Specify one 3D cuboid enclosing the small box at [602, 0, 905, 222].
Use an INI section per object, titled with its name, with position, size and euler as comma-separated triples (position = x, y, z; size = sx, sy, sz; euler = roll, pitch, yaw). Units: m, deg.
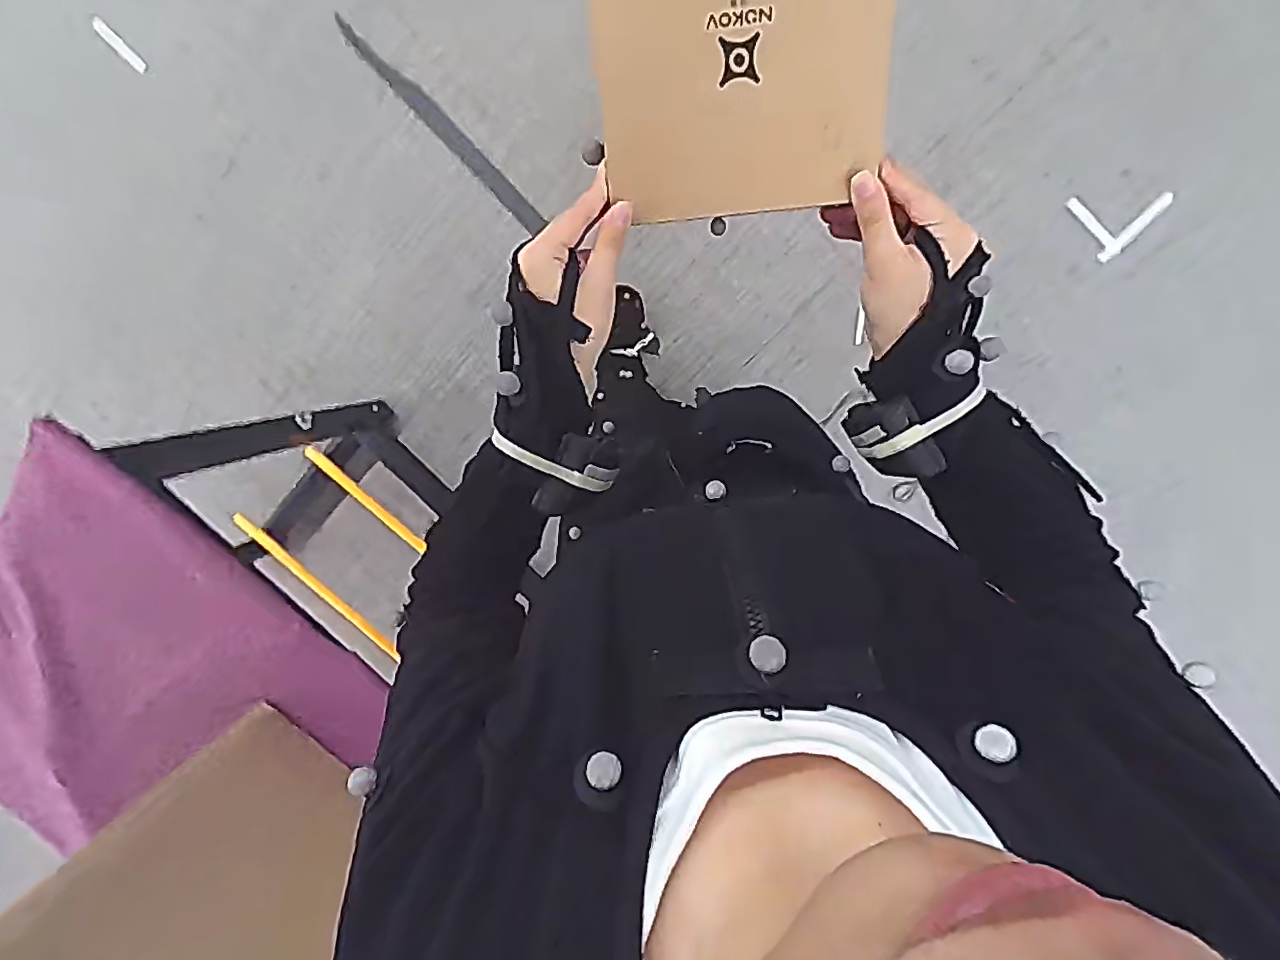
[small box]
position = 0.064, -0.282, 0.370
size = 0.168, 0.176, 0.179
euler = -4, 116, 3
